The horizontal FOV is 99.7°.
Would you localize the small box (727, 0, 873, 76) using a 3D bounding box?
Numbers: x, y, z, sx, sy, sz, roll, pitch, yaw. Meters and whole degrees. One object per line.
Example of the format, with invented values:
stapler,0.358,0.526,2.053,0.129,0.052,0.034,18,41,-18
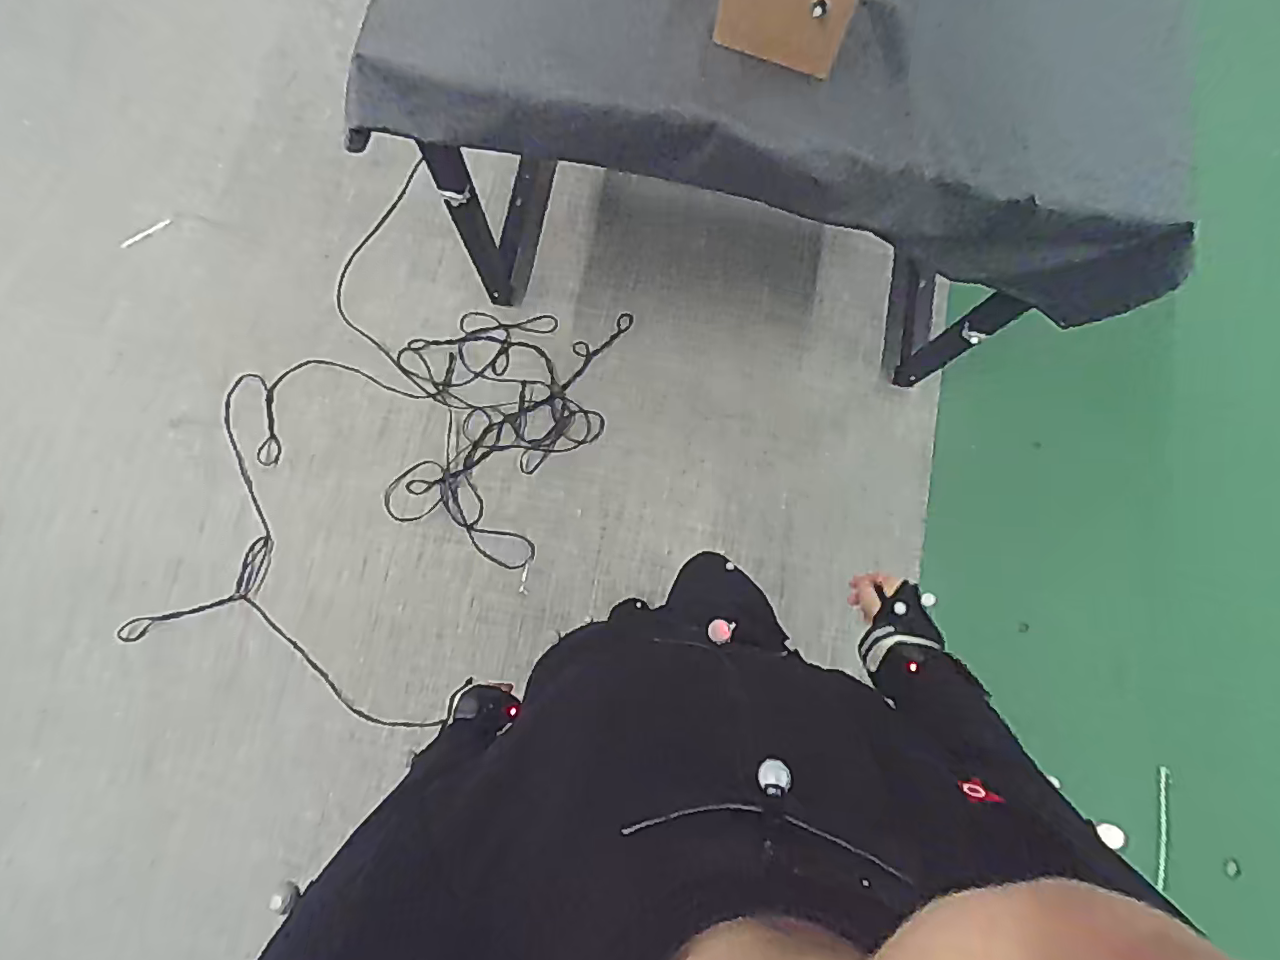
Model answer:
small box,0.232,-0.684,0.711,0.179,0.176,0.168,20,79,2
